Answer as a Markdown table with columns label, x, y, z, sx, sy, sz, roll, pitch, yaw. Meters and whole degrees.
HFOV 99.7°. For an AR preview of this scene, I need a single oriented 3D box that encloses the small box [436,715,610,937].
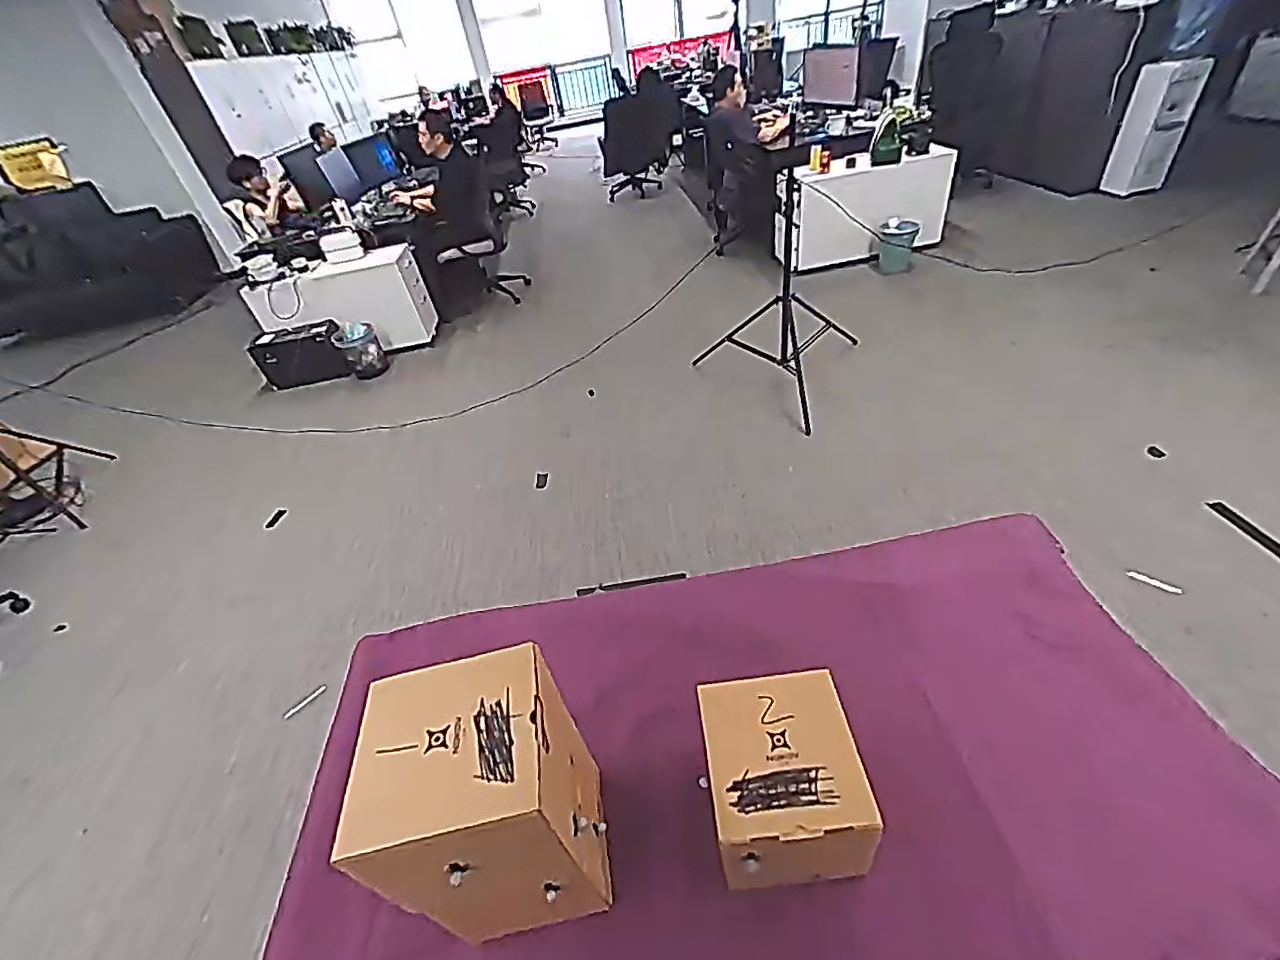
| label | x | y | z | sx | sy | sz | roll | pitch | yaw |
| --- | --- | --- | --- | --- | --- | --- | --- | --- | --- |
| small box | -0.144 | 0.424 | 0.662 | 0.179 | 0.176 | 0.168 | -12 | 40 | -3 |

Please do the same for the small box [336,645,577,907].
| label | x | y | z | sx | sy | sz | roll | pitch | yaw |
| --- | --- | --- | --- | --- | --- | --- | --- | --- | --- |
| small box | -0.165 | 0.302 | 0.554 | 0.179 | 0.176 | 0.168 | -13 | 39 | -2 |
